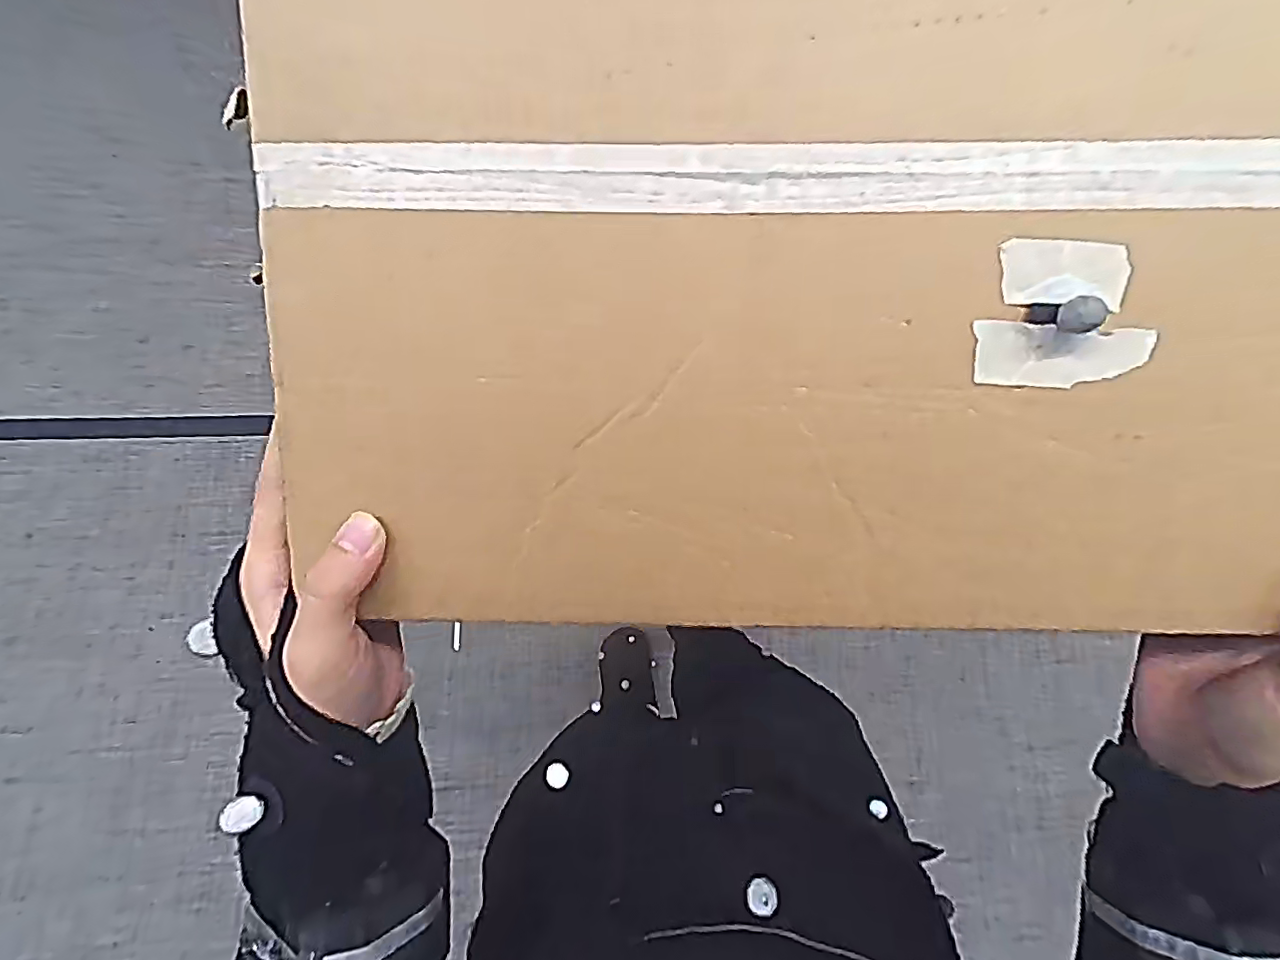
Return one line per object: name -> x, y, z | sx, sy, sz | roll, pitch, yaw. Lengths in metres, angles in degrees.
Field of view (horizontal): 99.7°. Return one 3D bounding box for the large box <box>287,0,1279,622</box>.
large box -> 0.074, -0.115, 0.343 | 0.408, 0.320, 0.320 | 0, 97, 0
